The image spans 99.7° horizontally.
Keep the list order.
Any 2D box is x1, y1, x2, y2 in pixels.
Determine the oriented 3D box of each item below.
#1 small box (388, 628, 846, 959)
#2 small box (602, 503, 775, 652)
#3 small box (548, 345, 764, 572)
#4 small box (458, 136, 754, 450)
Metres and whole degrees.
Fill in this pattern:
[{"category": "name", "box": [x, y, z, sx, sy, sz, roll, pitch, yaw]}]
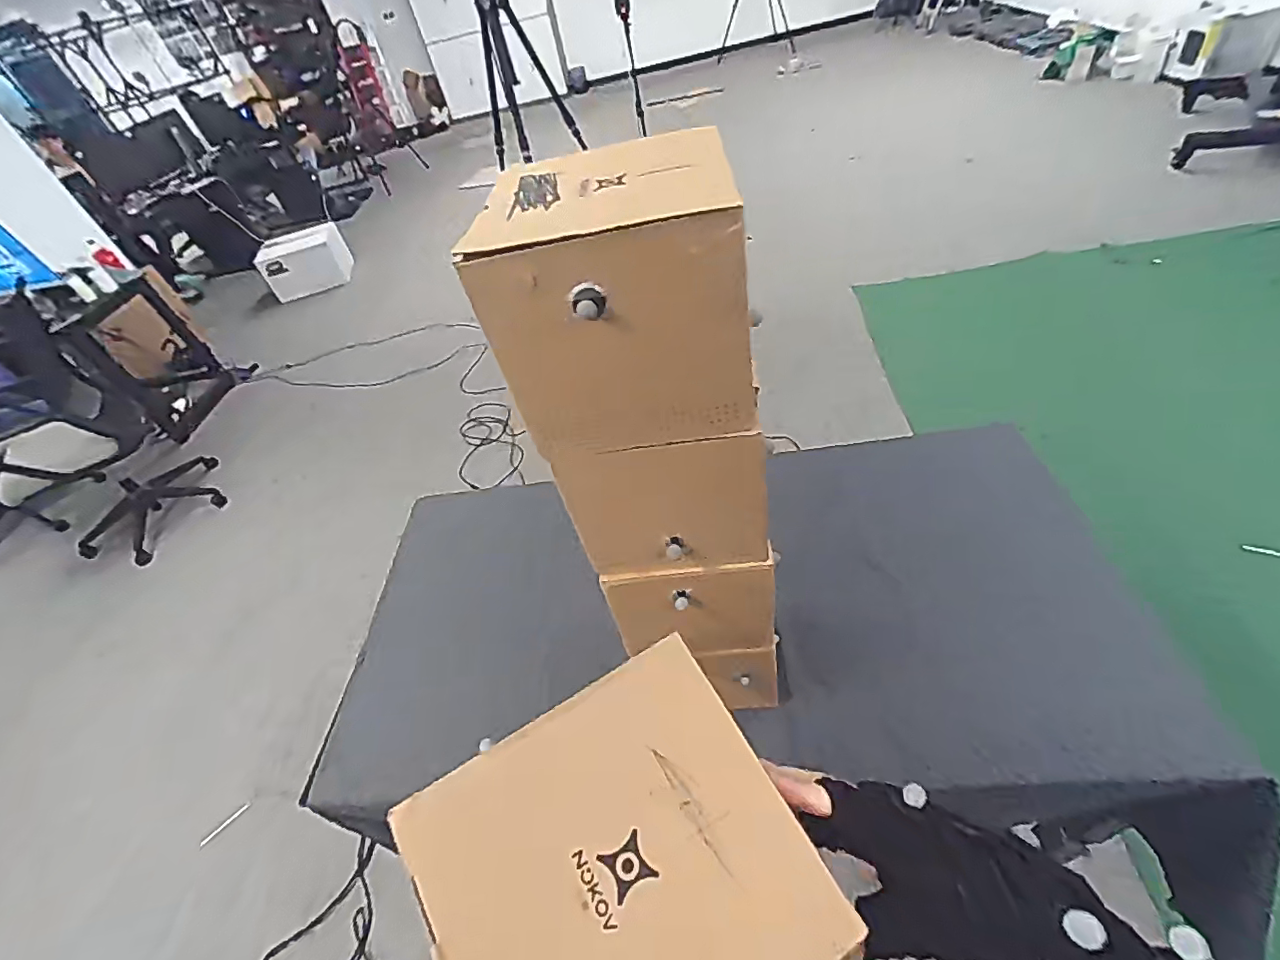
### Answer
[{"category": "small box", "box": [-0.017, 0.223, 0.335, 0.179, 0.176, 0.168, -27, 67, -16]}, {"category": "small box", "box": [0.062, 0.093, 0.648, 0.179, 0.176, 0.168, -8, 44, 8]}, {"category": "small box", "box": [0.028, -0.024, 0.539, 0.179, 0.176, 0.168, -6, 45, 10]}, {"category": "small box", "box": [-0.010, -0.140, 0.428, 0.179, 0.176, 0.168, -7, 45, 9]}]
